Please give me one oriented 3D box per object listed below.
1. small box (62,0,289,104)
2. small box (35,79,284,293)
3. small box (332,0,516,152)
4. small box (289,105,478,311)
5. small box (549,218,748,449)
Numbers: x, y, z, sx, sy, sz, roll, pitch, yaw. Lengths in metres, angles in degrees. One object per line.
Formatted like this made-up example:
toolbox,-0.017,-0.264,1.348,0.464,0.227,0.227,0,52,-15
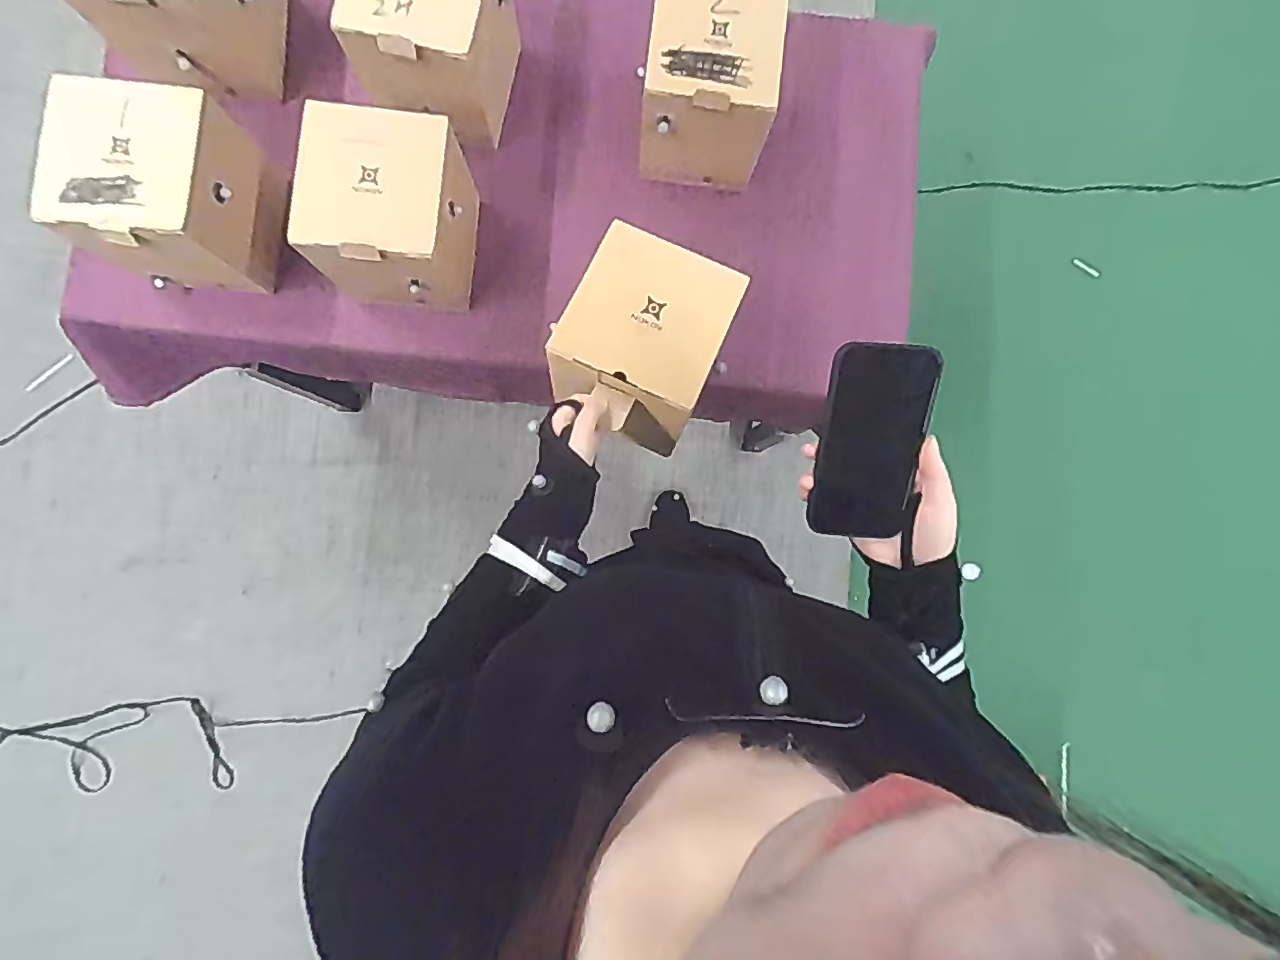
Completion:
small box,-0.595,-0.637,0.712,0.168,0.176,0.179,1,87,-4
small box,-0.592,-0.359,0.692,0.168,0.176,0.179,4,84,-3
small box,-0.272,-0.591,0.726,0.168,0.176,0.179,12,86,-2
small box,-0.318,-0.339,0.707,0.168,0.176,0.179,5,85,-3
small box,0.006,-0.163,0.650,0.168,0.176,0.179,24,76,2
